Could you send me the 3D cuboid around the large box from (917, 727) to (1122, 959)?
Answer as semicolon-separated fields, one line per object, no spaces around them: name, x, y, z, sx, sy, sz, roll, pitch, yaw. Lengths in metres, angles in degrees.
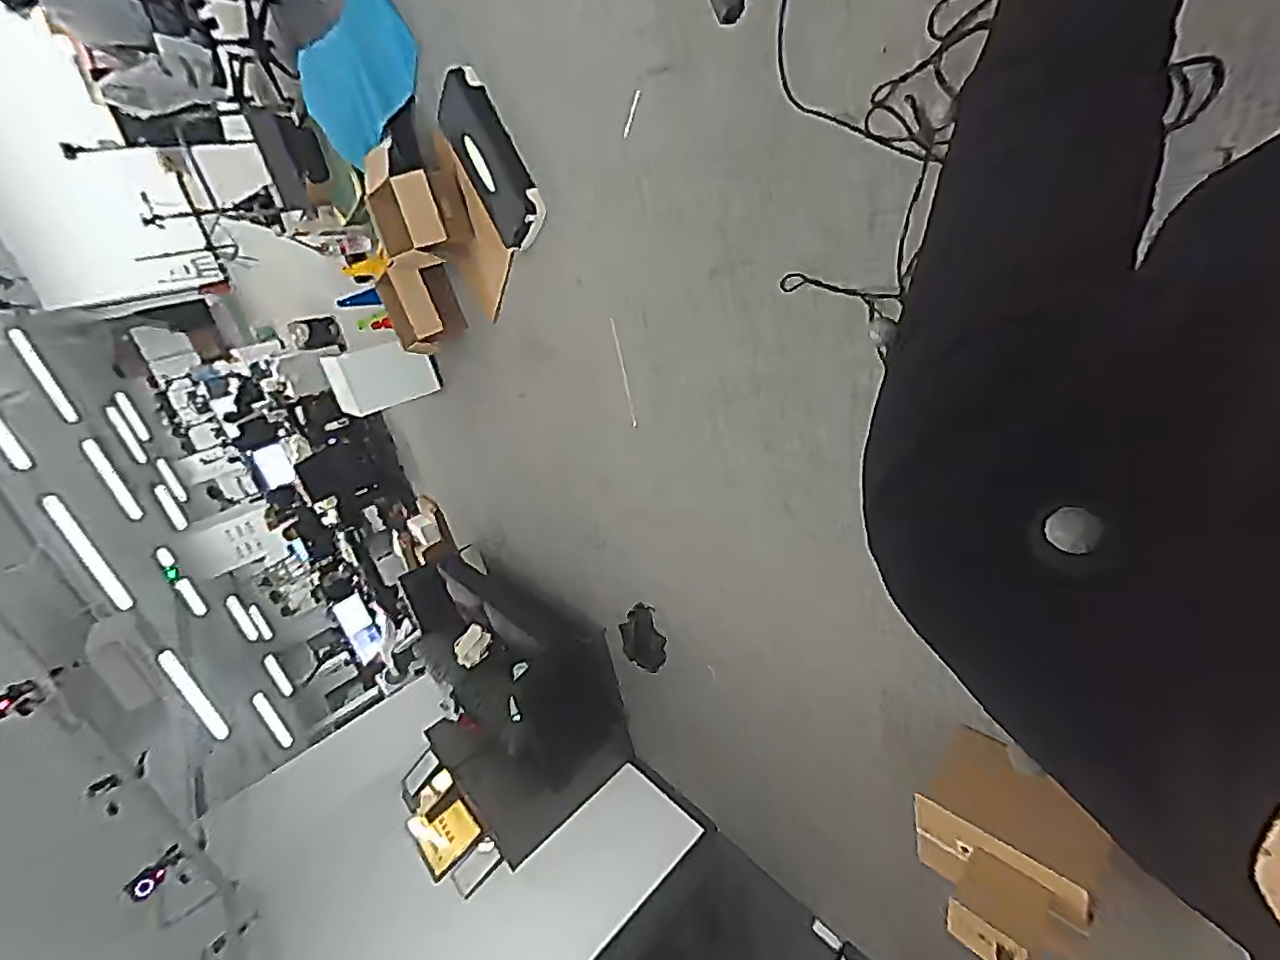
large box;1.071;1.006;1.546;0.408;0.320;0.320;15;125;50
